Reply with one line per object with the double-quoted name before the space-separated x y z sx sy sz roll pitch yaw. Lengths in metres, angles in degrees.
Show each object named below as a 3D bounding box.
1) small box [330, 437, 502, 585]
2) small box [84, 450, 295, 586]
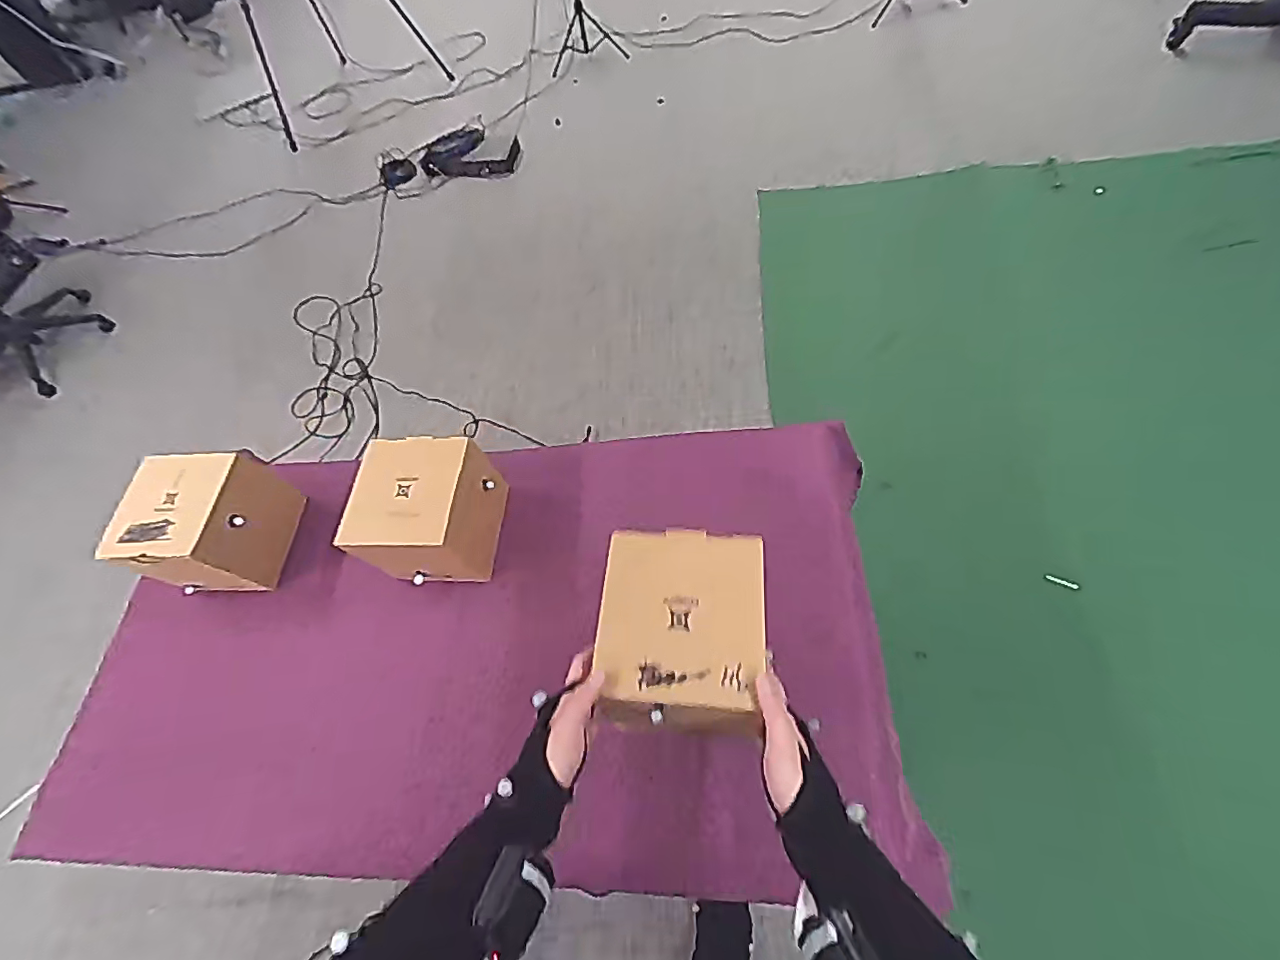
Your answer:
"small box" -0.326 0.050 0.832 0.168 0.176 0.179 1 64 9
"small box" -0.701 0.067 0.869 0.168 0.176 0.179 0 63 7
